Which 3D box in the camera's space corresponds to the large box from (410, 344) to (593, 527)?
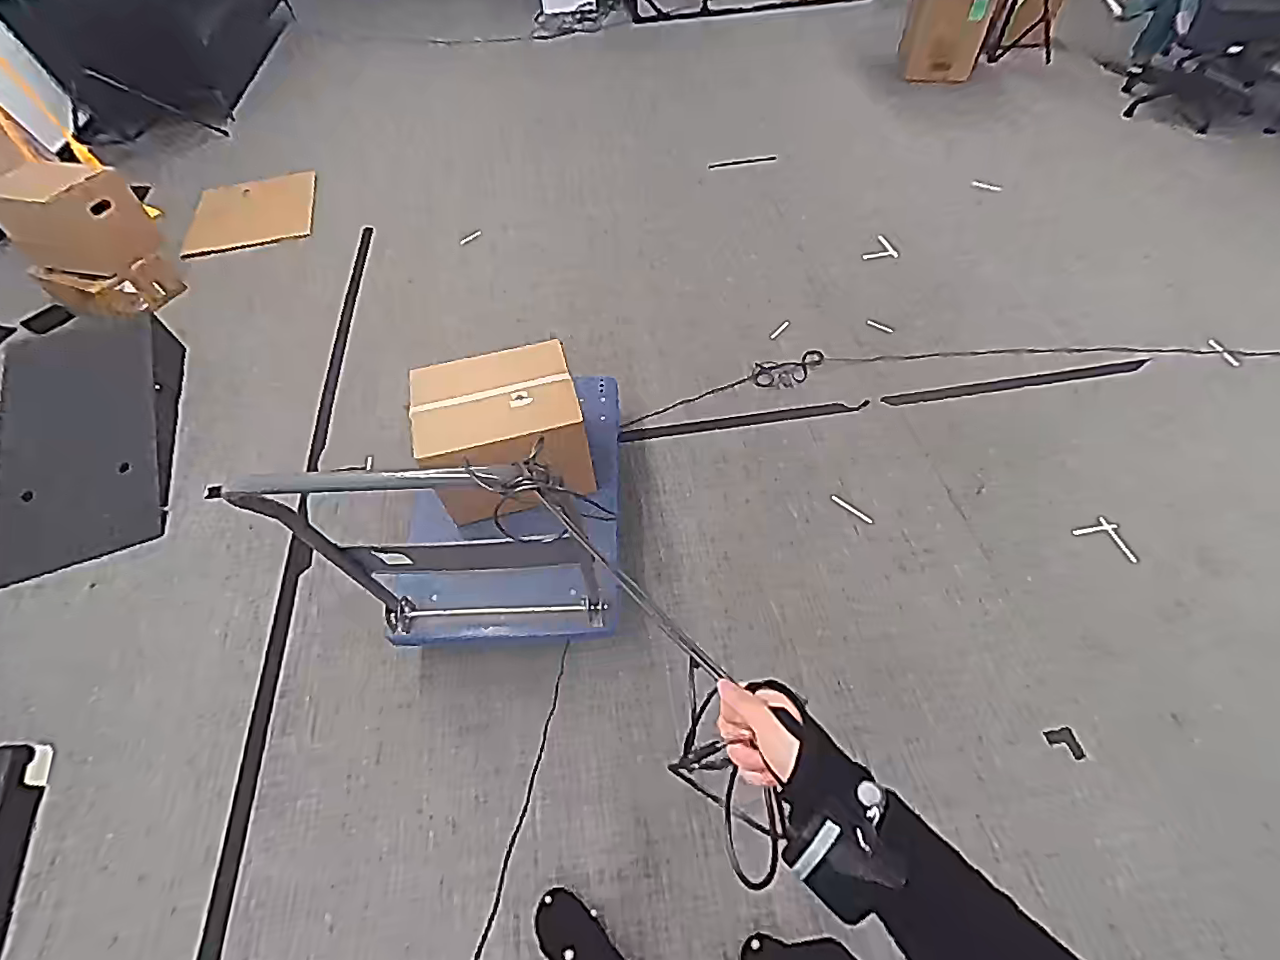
[{"bbox_3d":[-0.366,-0.117,1.475,0.408,0.320,0.320,-14,56,-8],"label":"large box"}]
